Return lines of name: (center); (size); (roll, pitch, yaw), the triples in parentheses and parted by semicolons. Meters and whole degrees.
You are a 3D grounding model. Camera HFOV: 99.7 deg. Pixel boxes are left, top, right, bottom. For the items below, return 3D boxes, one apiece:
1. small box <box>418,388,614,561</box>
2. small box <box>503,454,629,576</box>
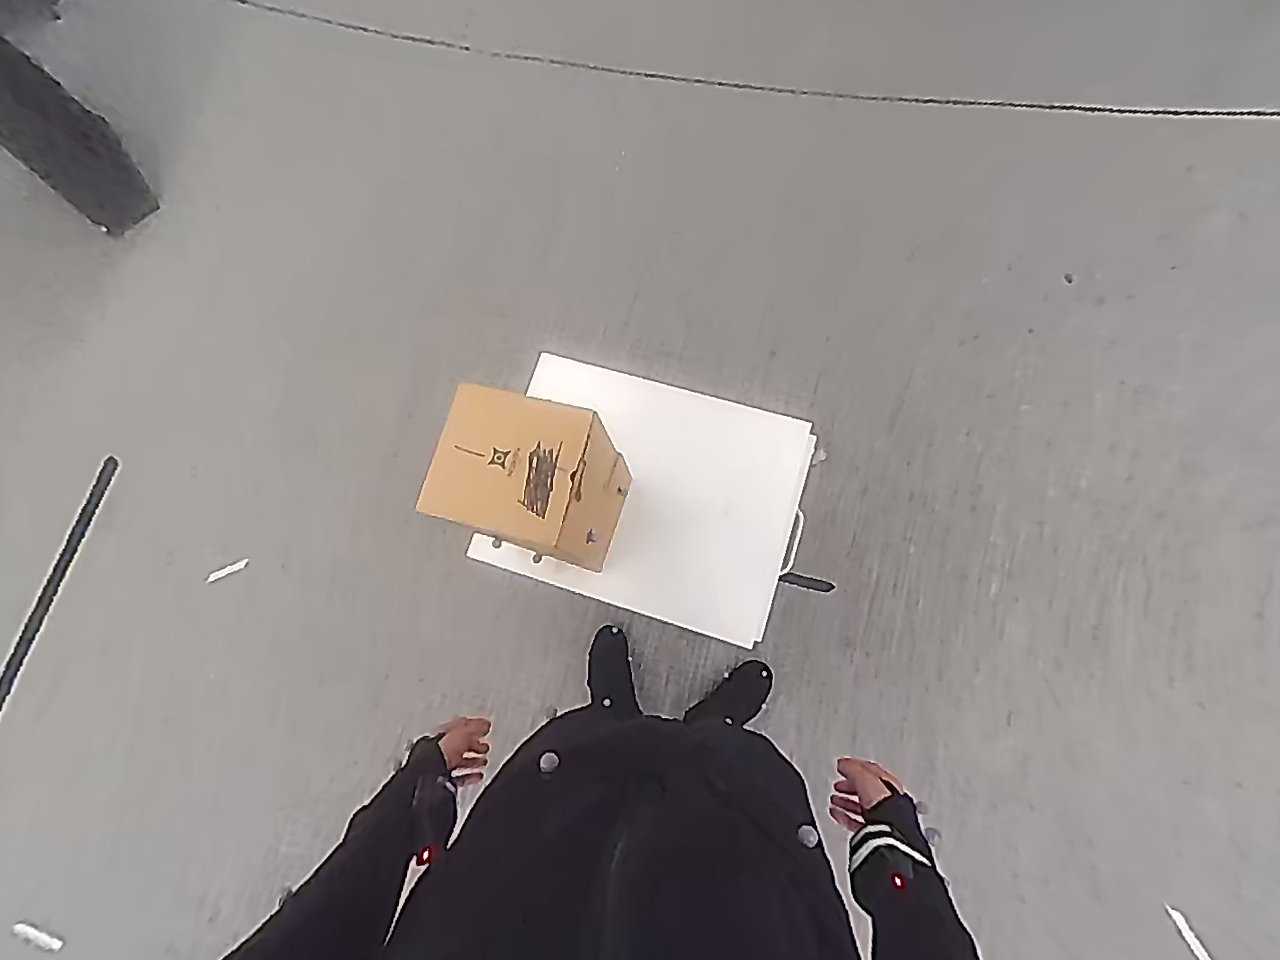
small box: (-0.143, 0.003, 0.697); (0.179, 0.176, 0.168); (13, 77, 10)
small box: (-0.122, 0.042, 0.855); (0.168, 0.176, 0.179); (18, 79, 9)
